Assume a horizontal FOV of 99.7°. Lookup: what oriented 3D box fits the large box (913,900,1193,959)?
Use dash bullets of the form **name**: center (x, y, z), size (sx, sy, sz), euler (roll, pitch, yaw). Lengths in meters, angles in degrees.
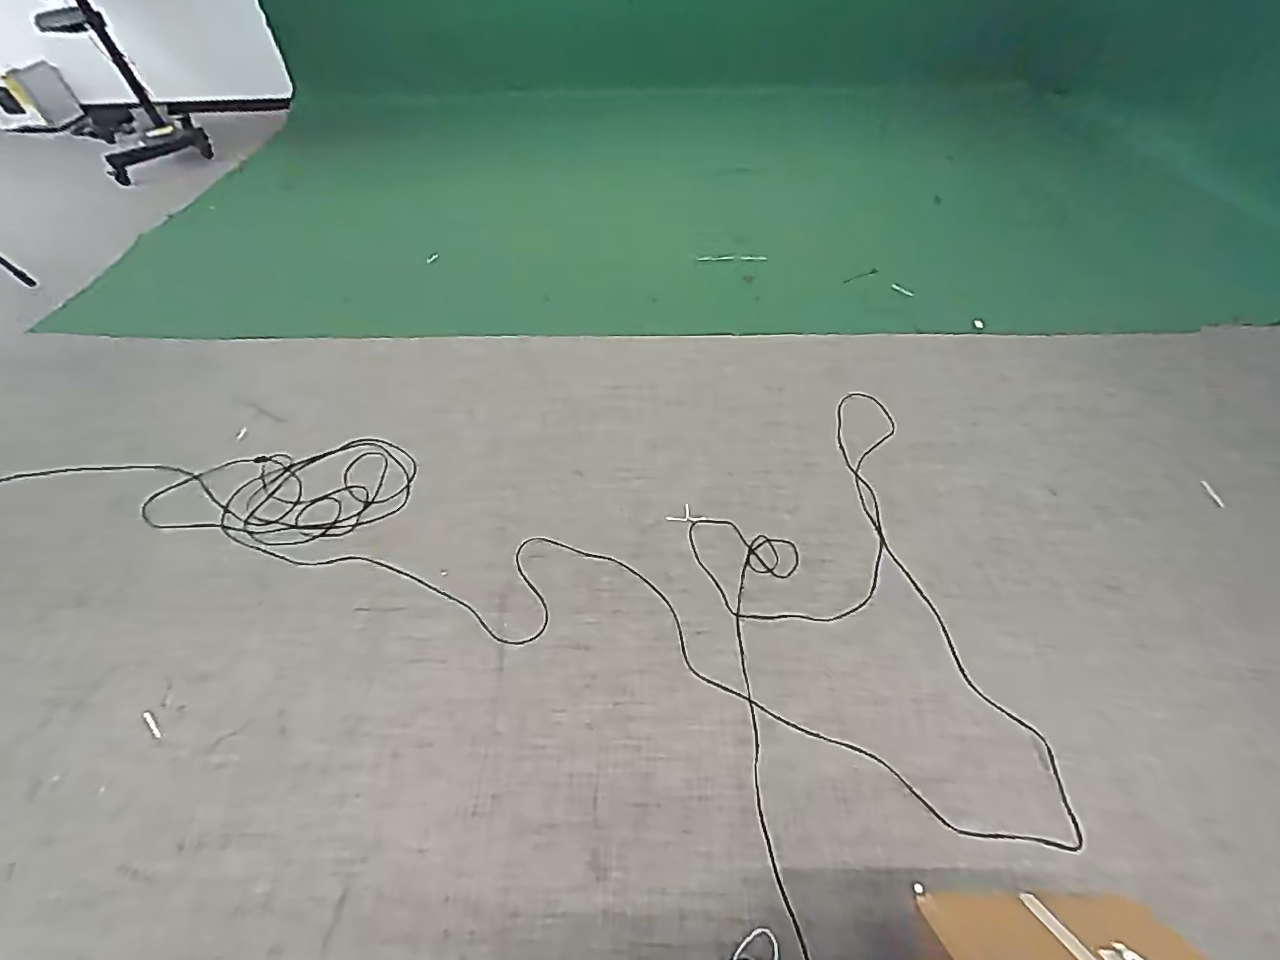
- **large box**: center (0.557, 0.759, 0.590), size (0.320, 0.408, 0.320), euler (-2, 84, 4)
